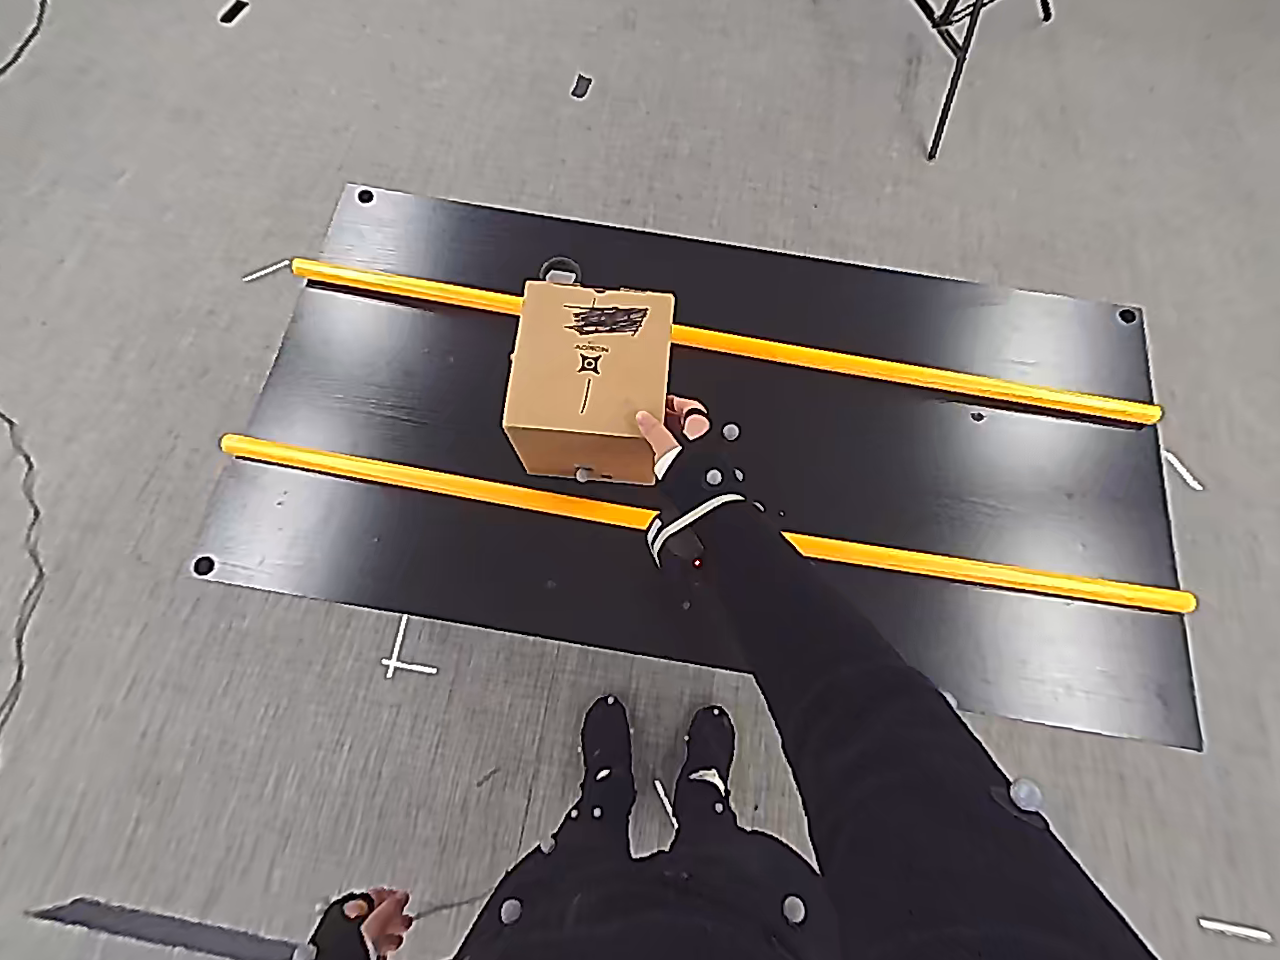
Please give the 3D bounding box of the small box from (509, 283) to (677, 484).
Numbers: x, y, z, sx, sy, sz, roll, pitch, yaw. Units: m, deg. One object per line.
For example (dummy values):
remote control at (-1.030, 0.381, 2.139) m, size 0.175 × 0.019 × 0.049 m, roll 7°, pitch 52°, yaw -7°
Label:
small box at (-0.050, -0.107, 0.656) m, size 0.168 × 0.176 × 0.179 m, roll 5°, pitch 73°, yaw 0°
